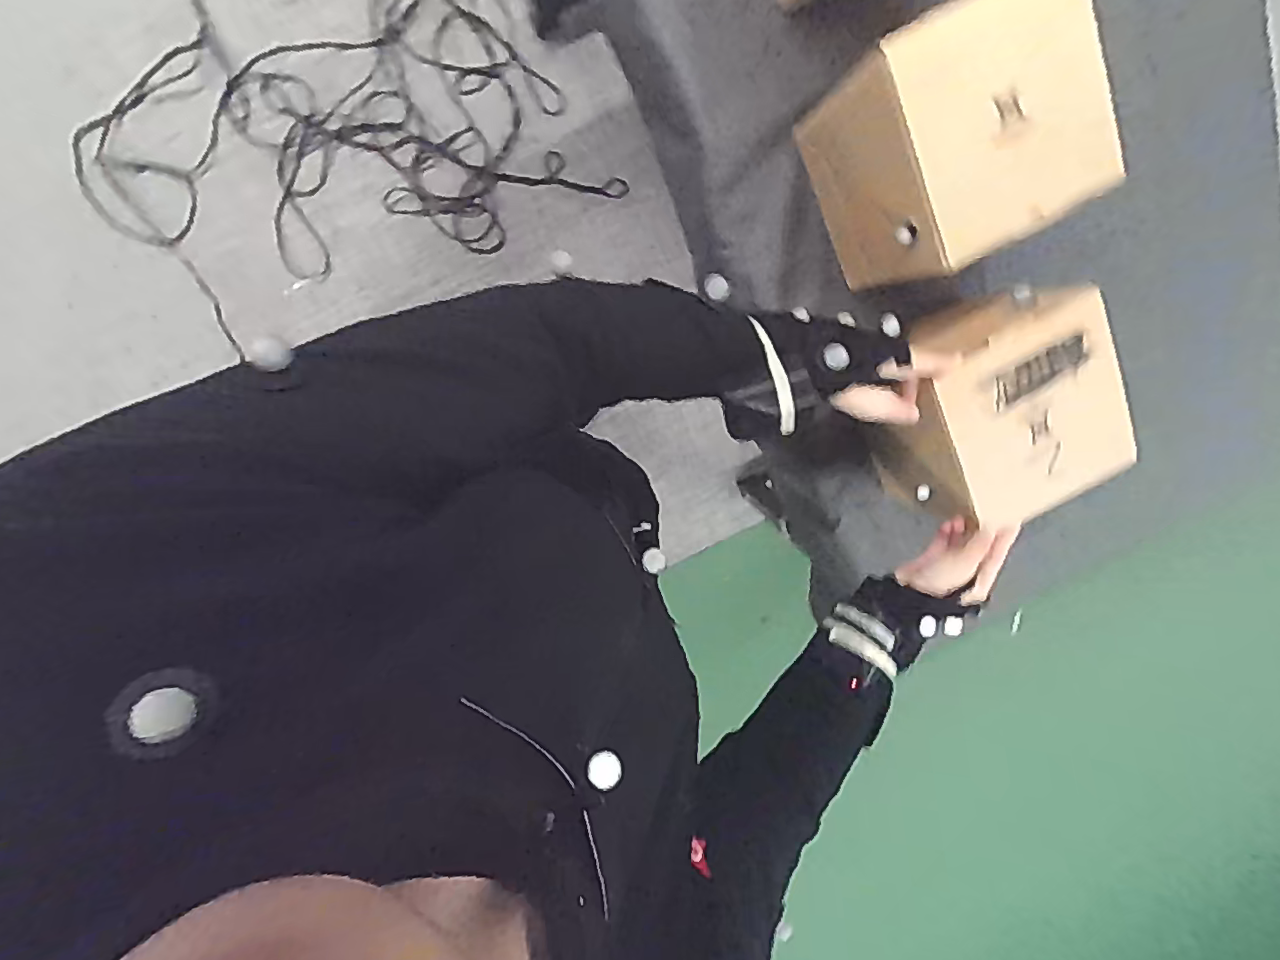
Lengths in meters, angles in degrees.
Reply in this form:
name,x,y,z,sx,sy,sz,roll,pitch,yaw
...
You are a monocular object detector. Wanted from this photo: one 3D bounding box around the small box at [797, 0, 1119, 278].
name,x,y,z,sx,sy,sz,roll,pitch,yaw
small box,0.272,-0.309,0.497,0.168,0.176,0.179,-29,107,0
